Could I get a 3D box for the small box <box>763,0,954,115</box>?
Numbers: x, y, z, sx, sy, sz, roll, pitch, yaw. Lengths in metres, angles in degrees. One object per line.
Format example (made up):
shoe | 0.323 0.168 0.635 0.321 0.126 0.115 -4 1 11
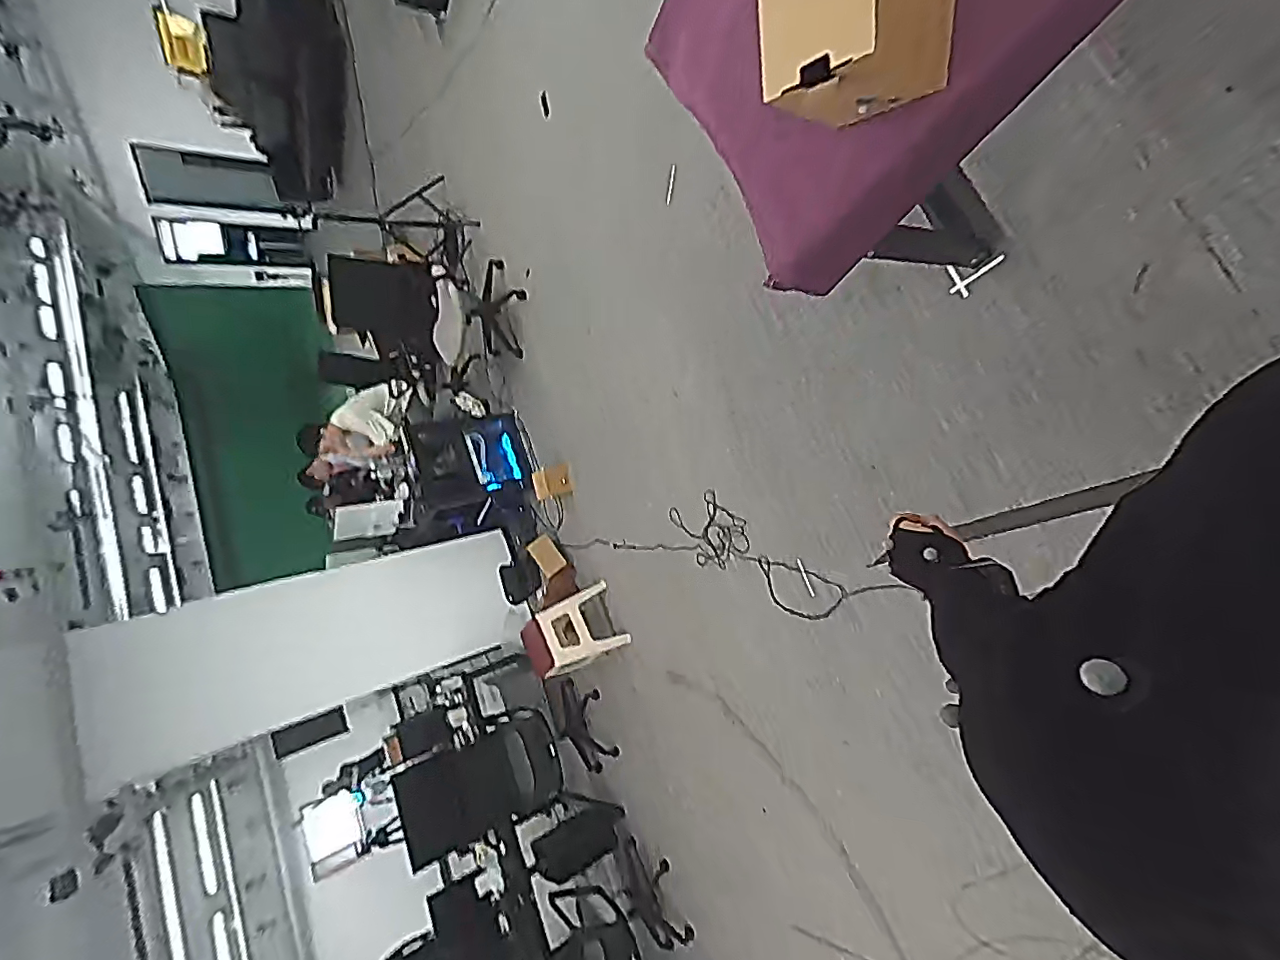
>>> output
small box | 0.278 -0.601 0.685 0.168 0.176 0.179 18 115 52
